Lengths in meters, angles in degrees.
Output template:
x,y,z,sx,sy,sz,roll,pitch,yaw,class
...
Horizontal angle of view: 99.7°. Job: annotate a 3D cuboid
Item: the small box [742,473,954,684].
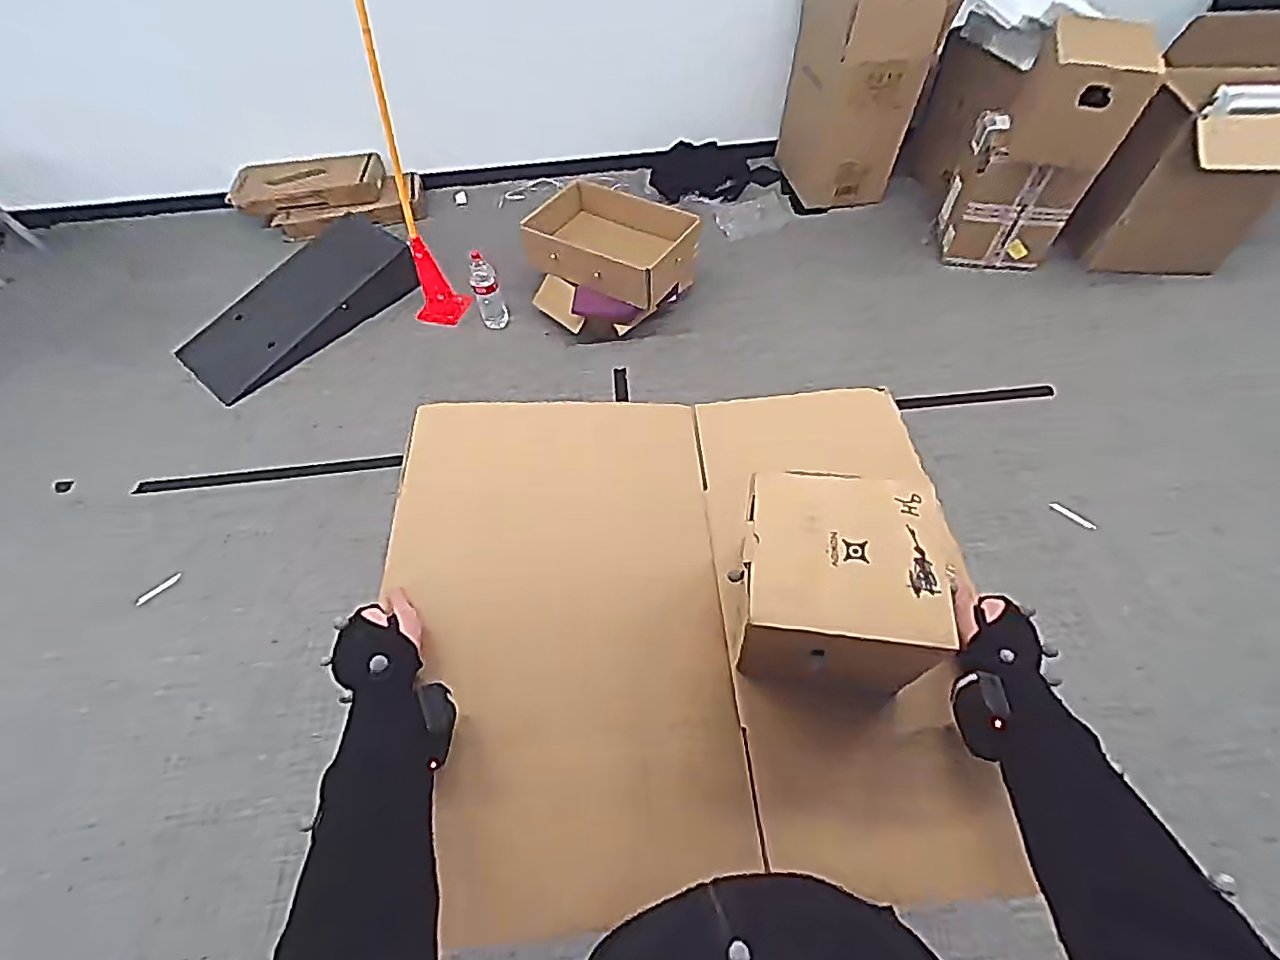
x,y,z,sx,sy,sz,roll,pitch,yaw,class
0.202,0.109,0.578,0.179,0.176,0.168,4,58,10,small box
